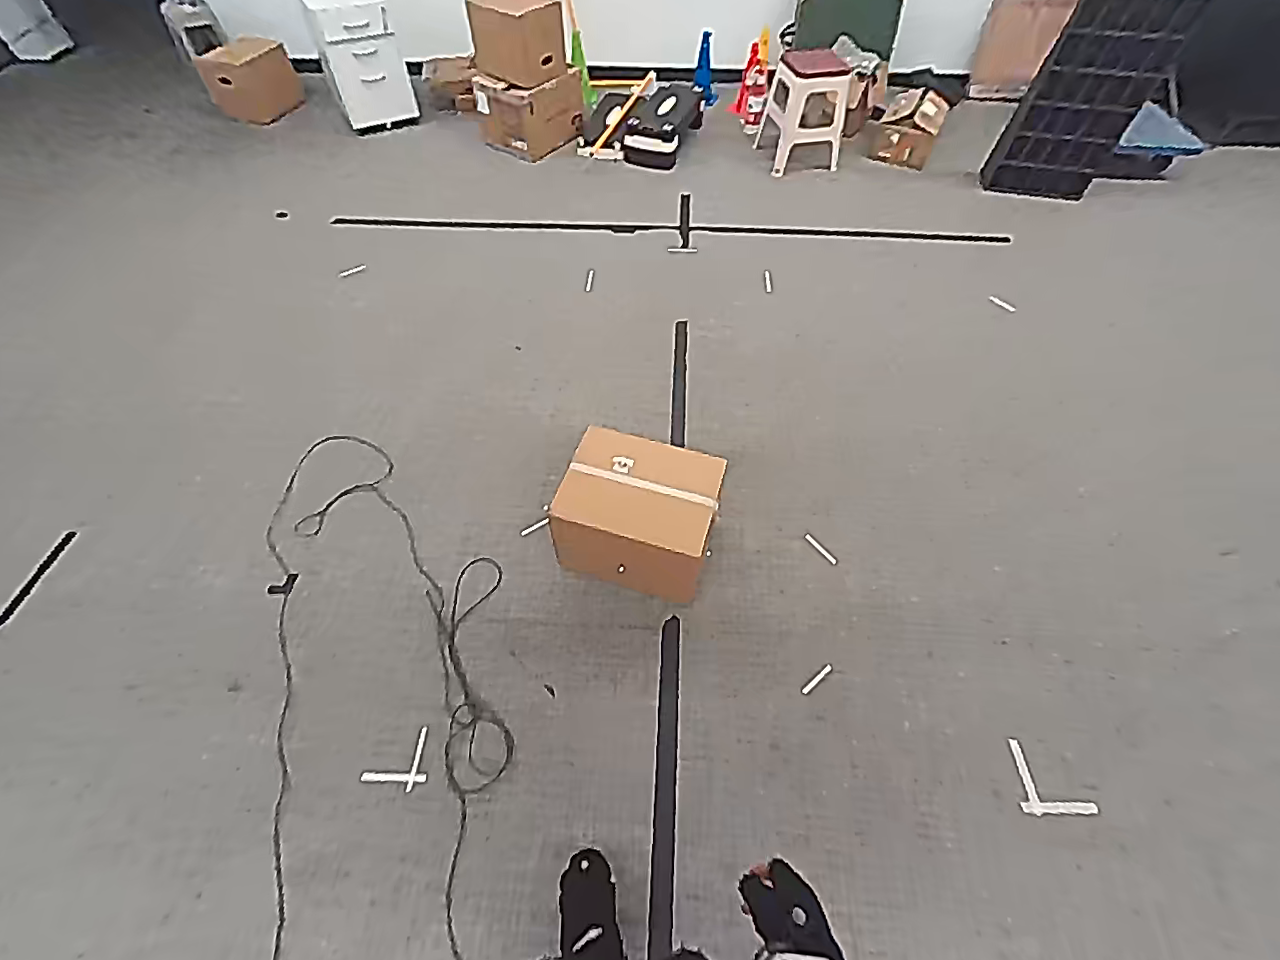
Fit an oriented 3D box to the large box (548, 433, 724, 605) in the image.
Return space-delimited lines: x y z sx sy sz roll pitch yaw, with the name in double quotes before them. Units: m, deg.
"large box" 0.000 0.116 1.544 0.408 0.320 0.320 15 55 10
